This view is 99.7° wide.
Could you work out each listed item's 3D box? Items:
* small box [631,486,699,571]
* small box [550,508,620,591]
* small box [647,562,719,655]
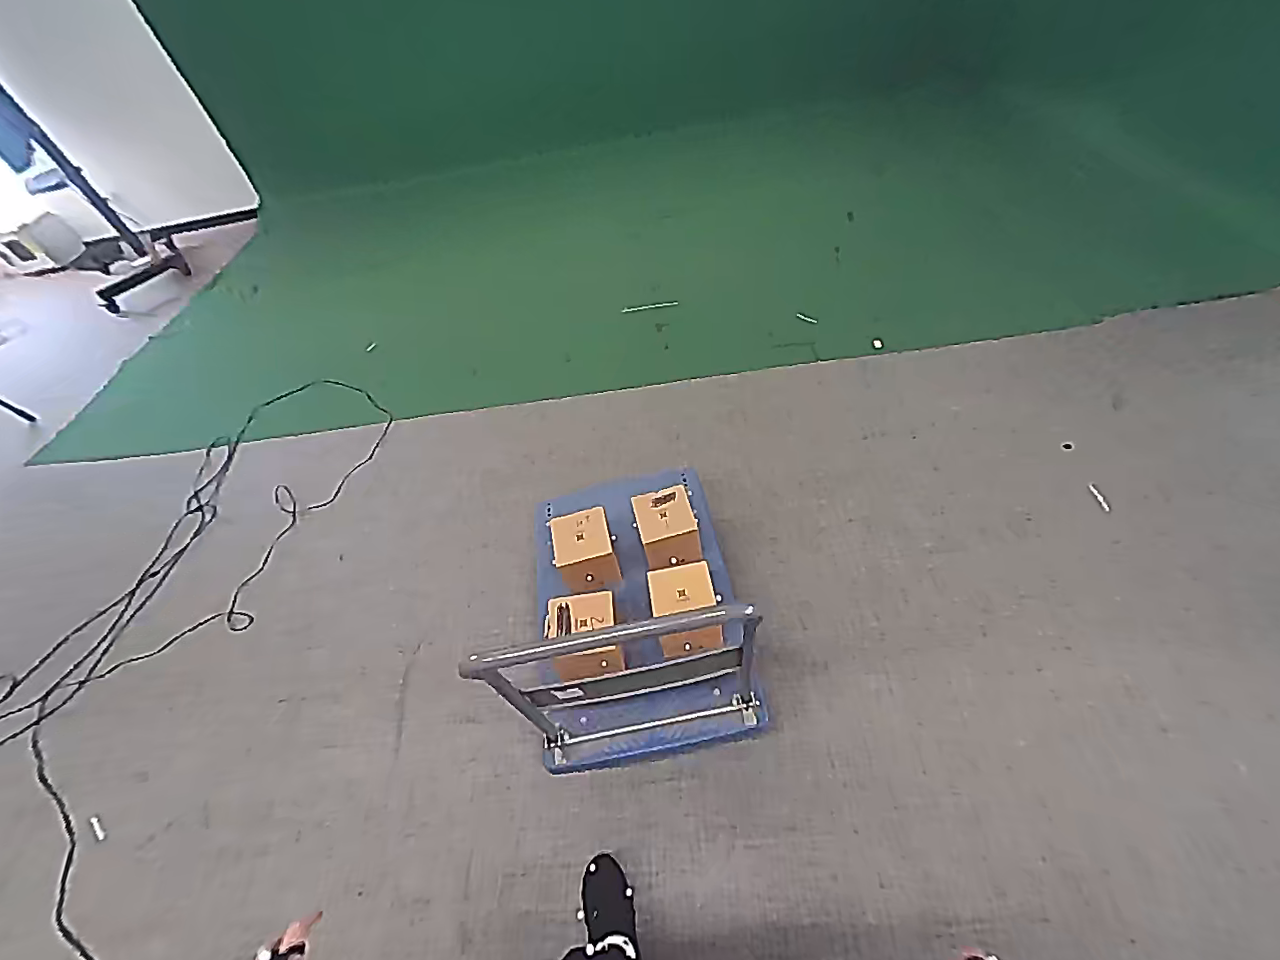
[{"bbox_3d":[0.077,0.152,1.655,0.168,0.176,0.179,-15,50,0],"label":"small box"},{"bbox_3d":[-0.166,0.219,1.648,0.168,0.176,0.179,-14,49,-2],"label":"small box"},{"bbox_3d":[0.119,0.354,1.479,0.168,0.176,0.179,-12,50,1],"label":"small box"}]
